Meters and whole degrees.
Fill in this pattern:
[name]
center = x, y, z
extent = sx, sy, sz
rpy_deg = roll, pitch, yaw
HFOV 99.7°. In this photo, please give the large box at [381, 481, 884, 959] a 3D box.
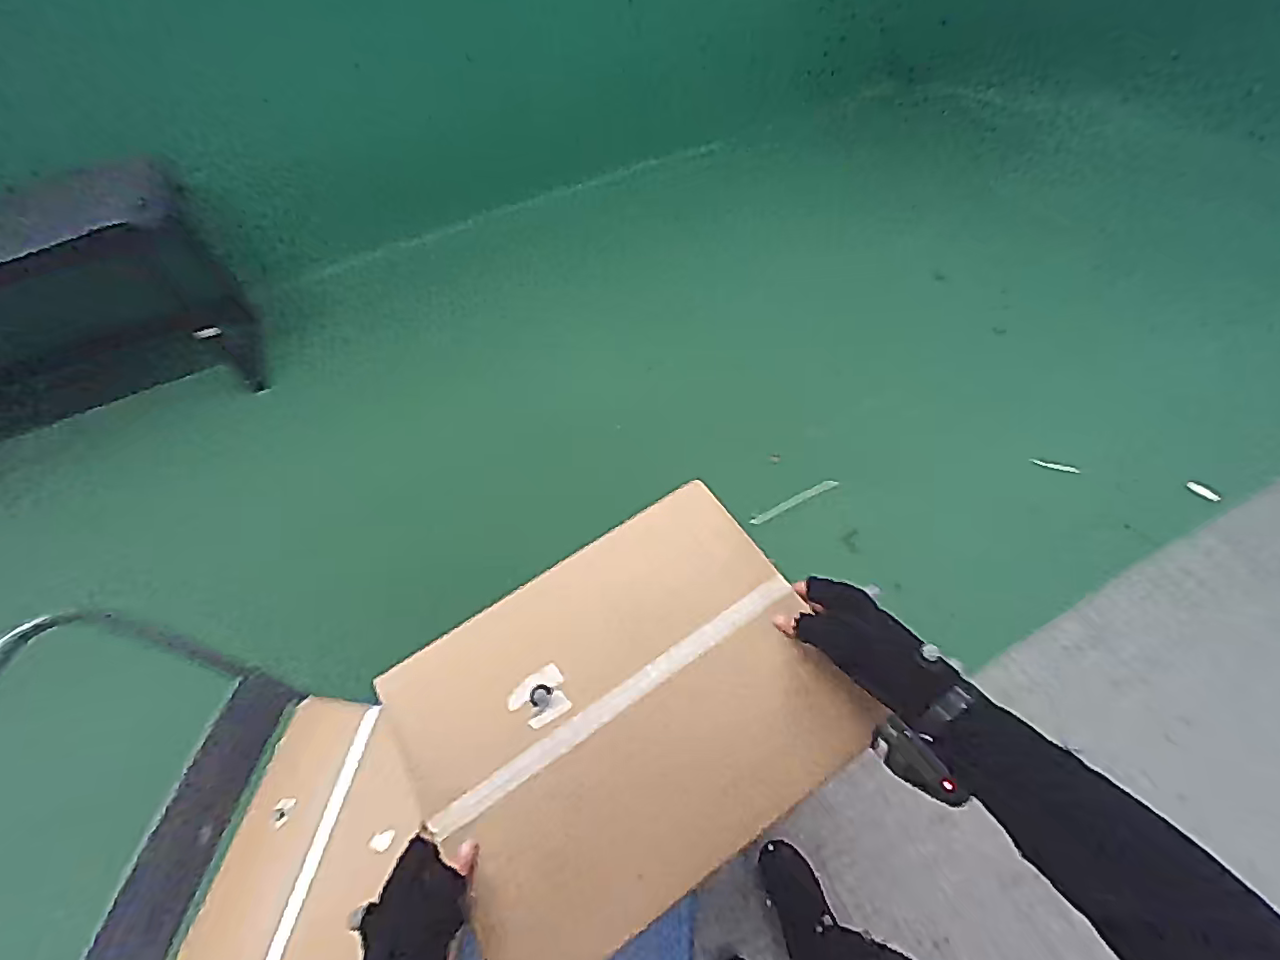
[large box]
center = -0.005, 0.276, 0.651
extent = 0.408, 0.320, 0.320
rpy_deg = -31, 63, -11
